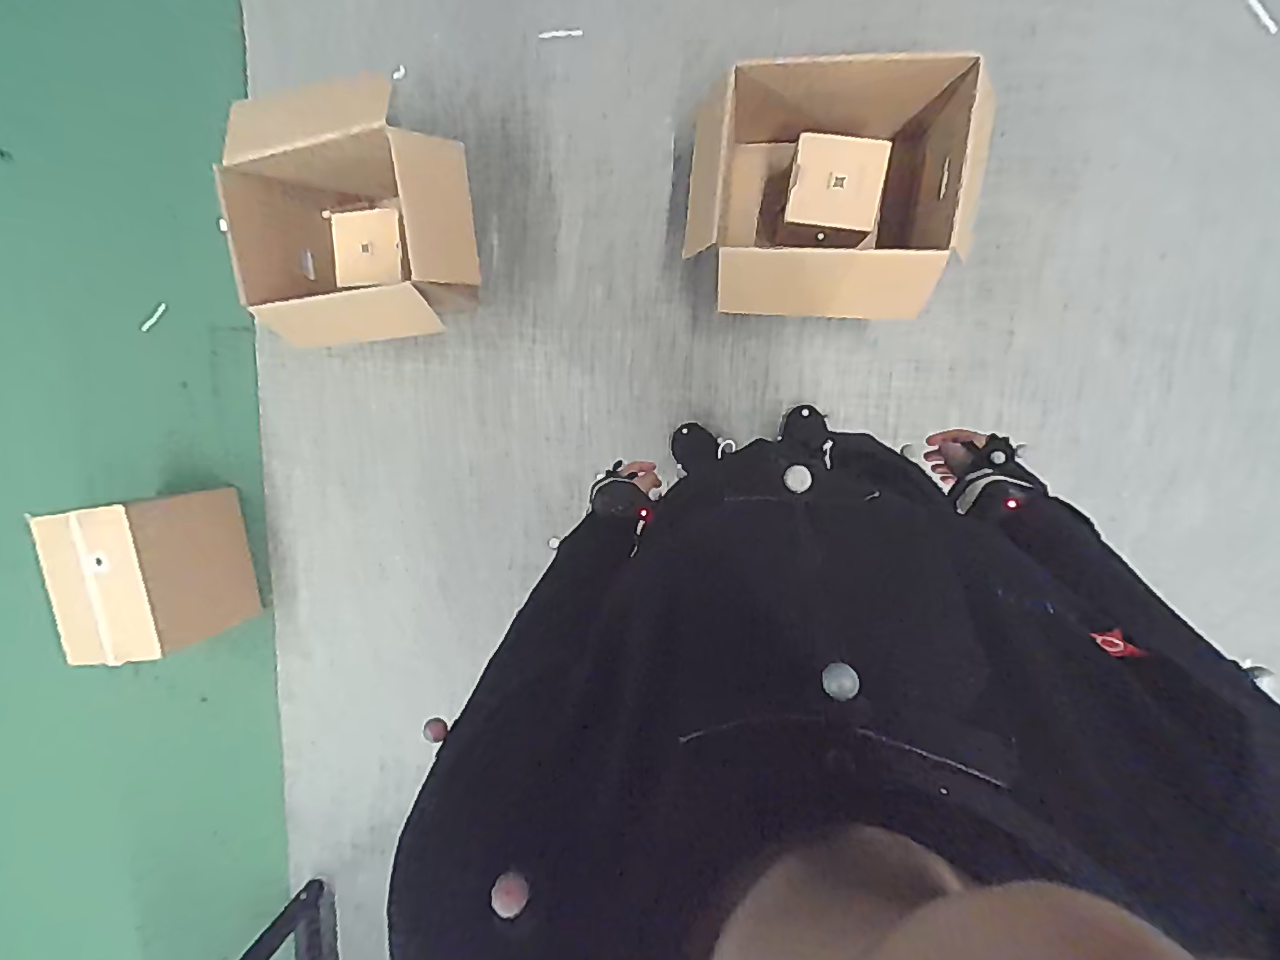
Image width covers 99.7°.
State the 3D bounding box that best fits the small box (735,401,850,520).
[{"bbox_3d":[0.340,-0.035,1.203,0.179,0.168,0.176,36,131,-9],"label":"small box"}]
